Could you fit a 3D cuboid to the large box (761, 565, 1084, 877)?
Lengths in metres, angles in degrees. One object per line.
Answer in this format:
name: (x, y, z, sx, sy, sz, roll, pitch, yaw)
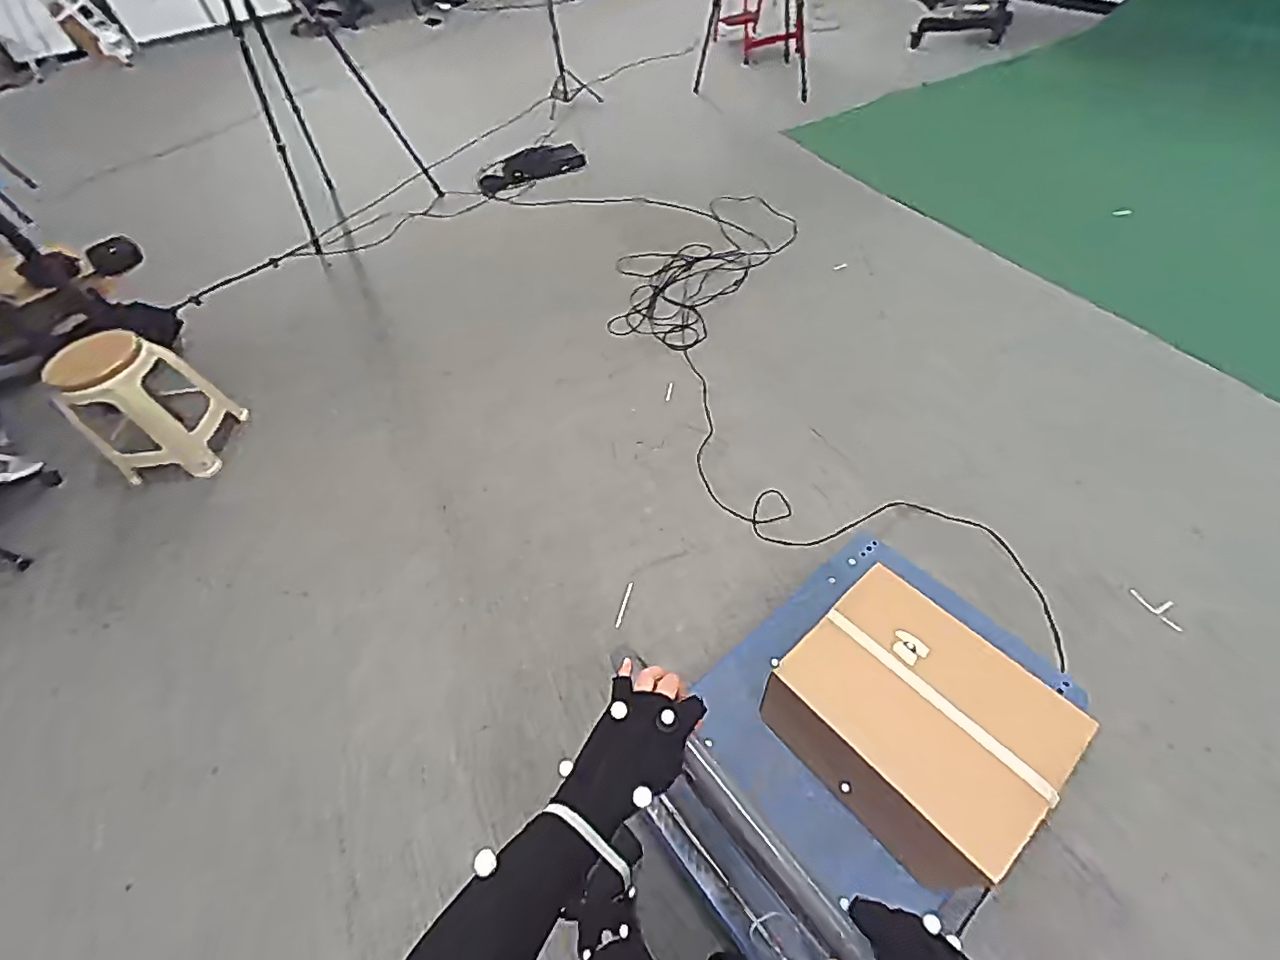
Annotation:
large box: (0.488, 0.450, 1.029, 0.320, 0.320, 0.408, -37, 56, -20)
